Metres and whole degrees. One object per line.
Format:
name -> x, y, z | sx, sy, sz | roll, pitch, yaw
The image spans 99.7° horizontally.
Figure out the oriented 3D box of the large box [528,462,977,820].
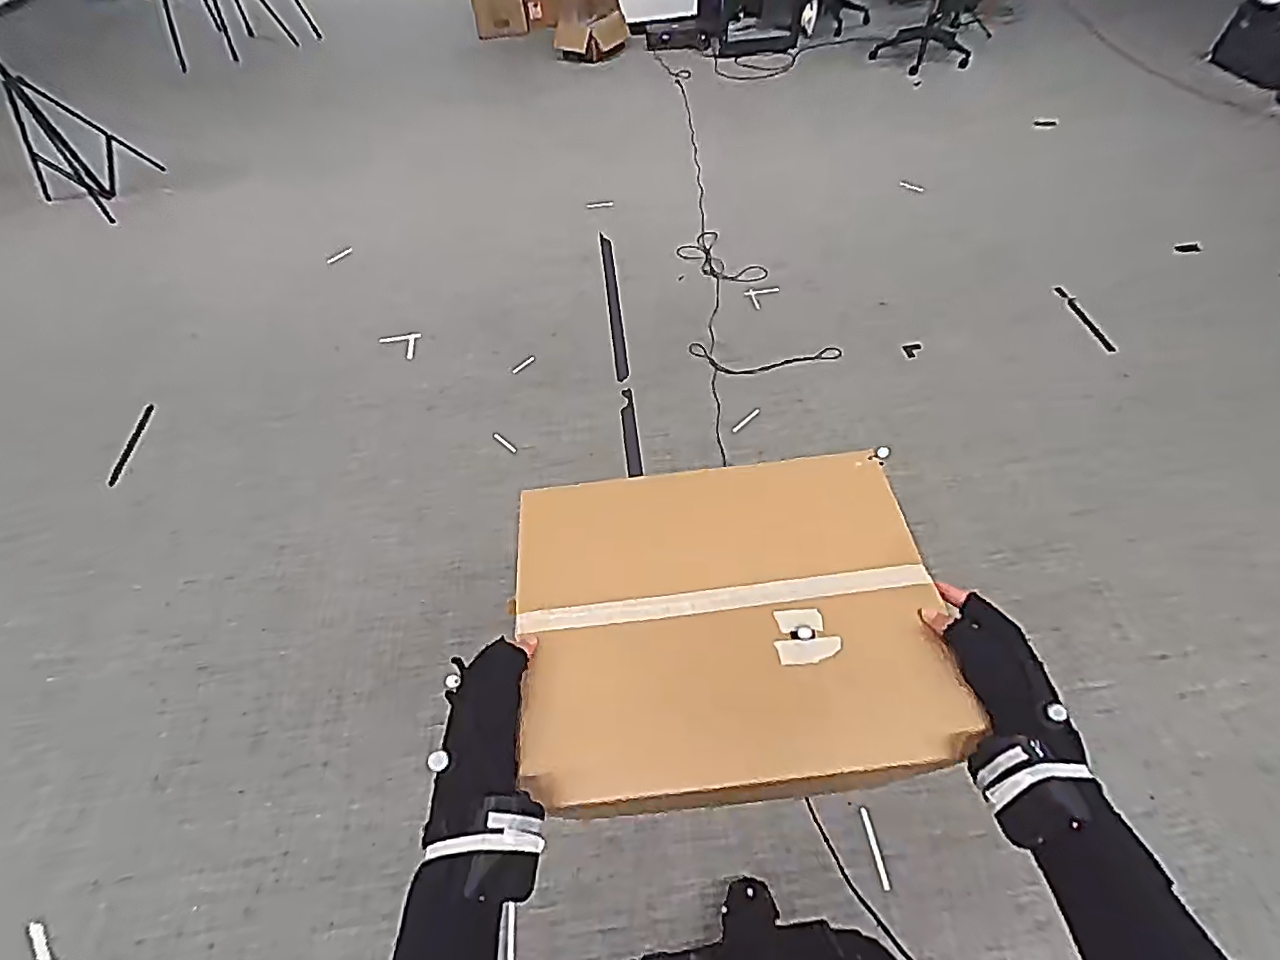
large box -> 0.090, 0.212, 0.672 | 0.408, 0.320, 0.320 | -7, 57, -1
